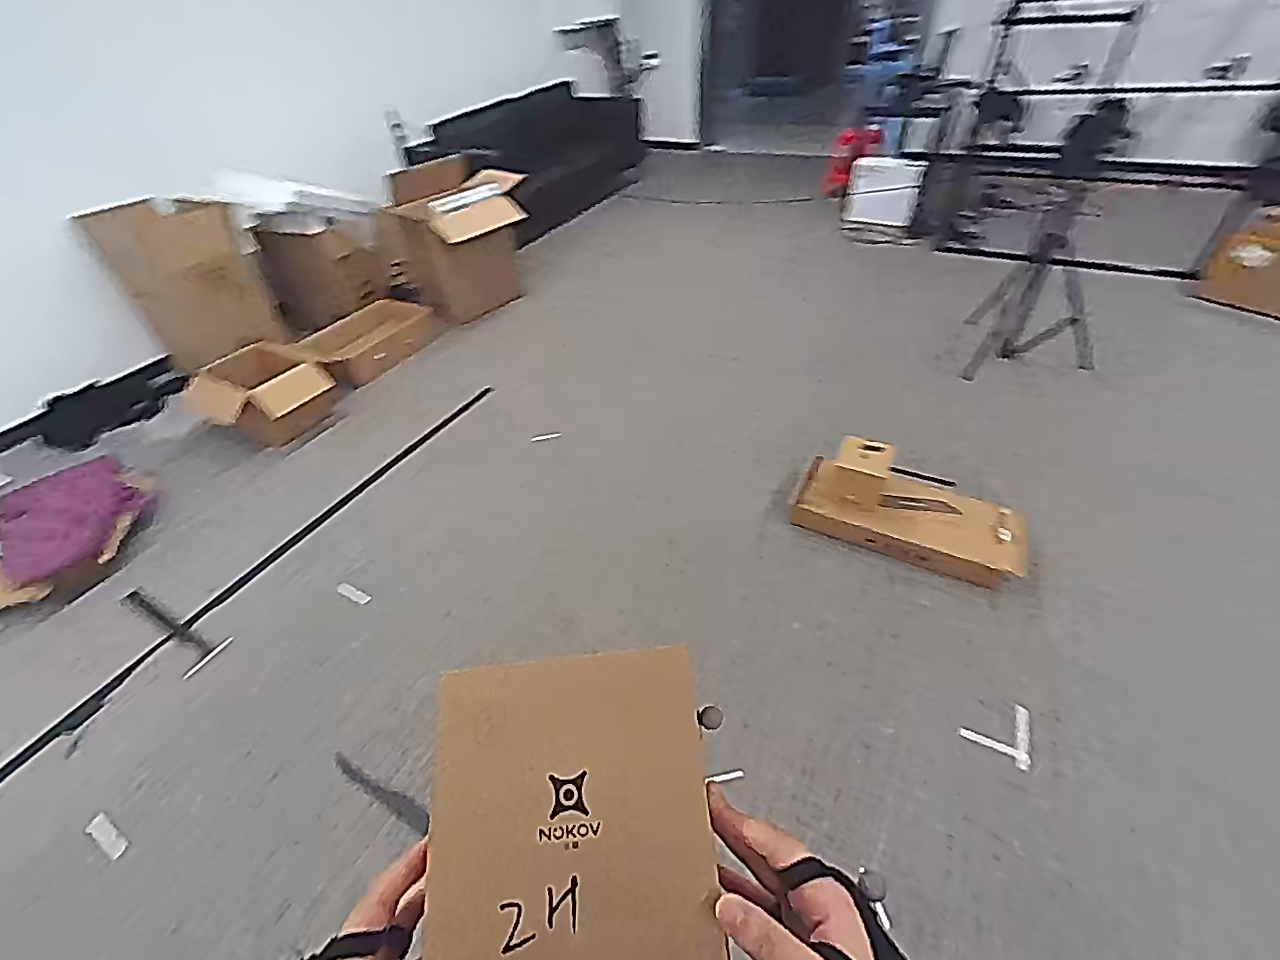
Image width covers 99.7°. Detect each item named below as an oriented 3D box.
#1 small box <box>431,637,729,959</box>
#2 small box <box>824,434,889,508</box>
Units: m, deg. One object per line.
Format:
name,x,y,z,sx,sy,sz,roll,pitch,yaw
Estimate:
small box,-0.032,0.227,0.399,0.168,0.176,0.179,-7,64,3
small box,0.760,-0.032,1.906,0.168,0.176,0.179,17,48,22
